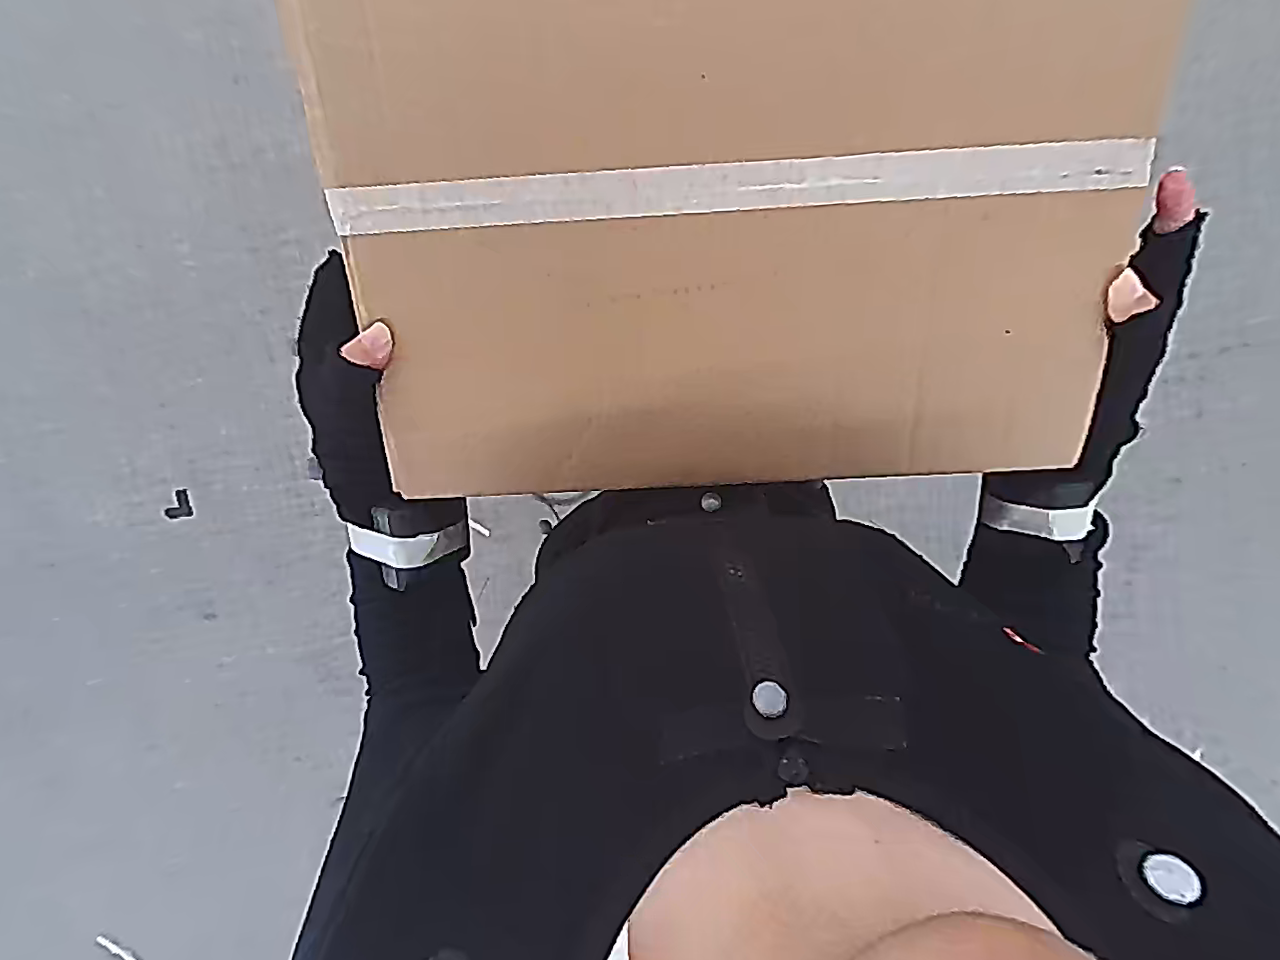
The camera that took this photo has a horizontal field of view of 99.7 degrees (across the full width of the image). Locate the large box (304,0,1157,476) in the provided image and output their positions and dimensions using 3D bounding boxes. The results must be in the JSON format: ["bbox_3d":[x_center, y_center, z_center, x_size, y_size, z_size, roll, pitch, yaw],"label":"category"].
[{"bbox_3d":[0.043,-0.209,0.417,0.408,0.320,0.320,-3,112,0],"label":"large box"}]
